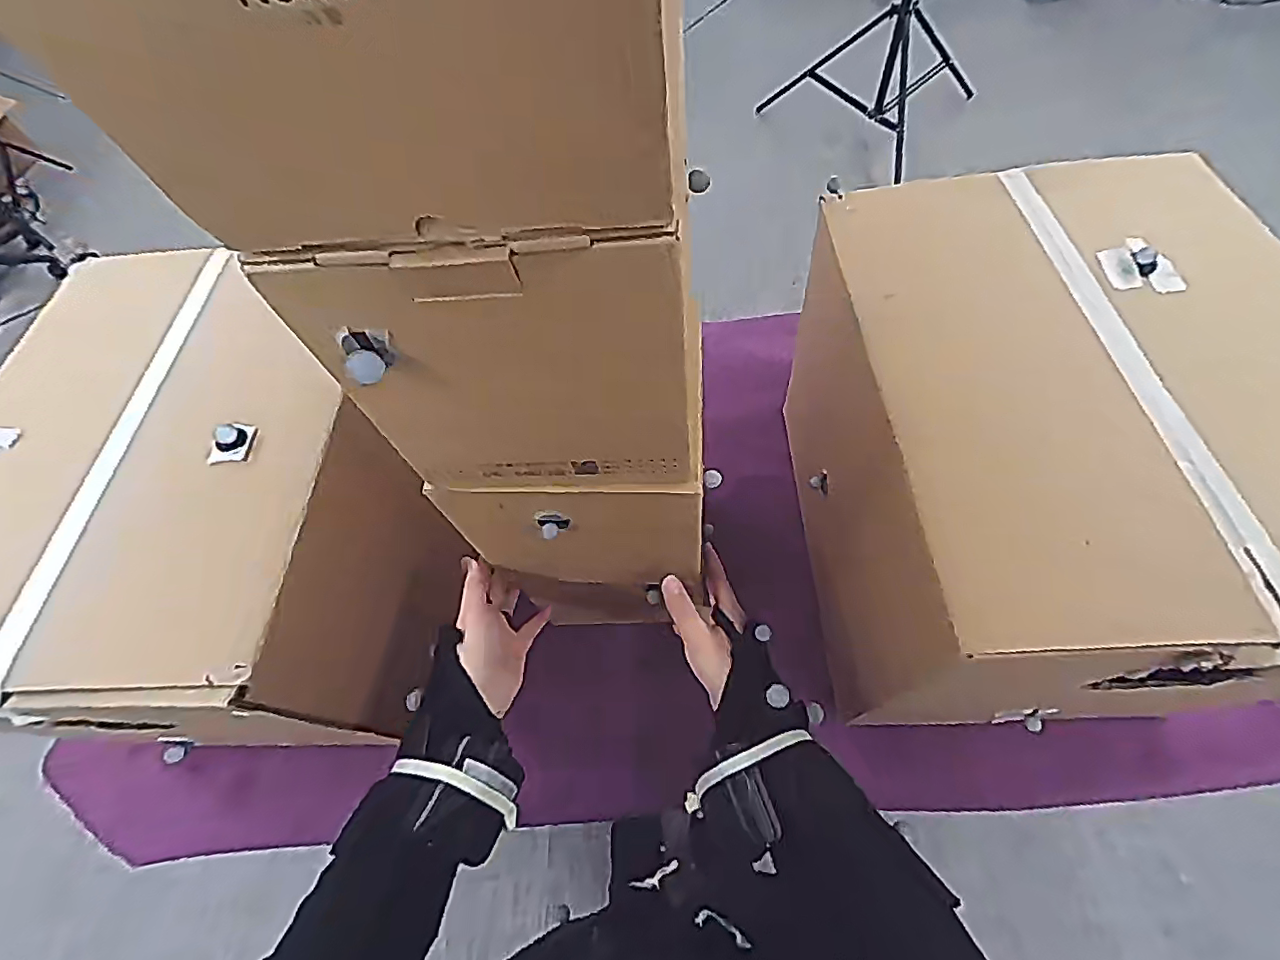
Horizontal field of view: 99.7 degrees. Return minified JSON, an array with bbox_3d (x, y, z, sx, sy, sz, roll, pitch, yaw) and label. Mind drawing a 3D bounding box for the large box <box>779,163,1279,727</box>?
[{"bbox_3d":[0.328,-0.015,0.501,0.320,0.320,0.408,-4,58,3],"label":"large box"}]
